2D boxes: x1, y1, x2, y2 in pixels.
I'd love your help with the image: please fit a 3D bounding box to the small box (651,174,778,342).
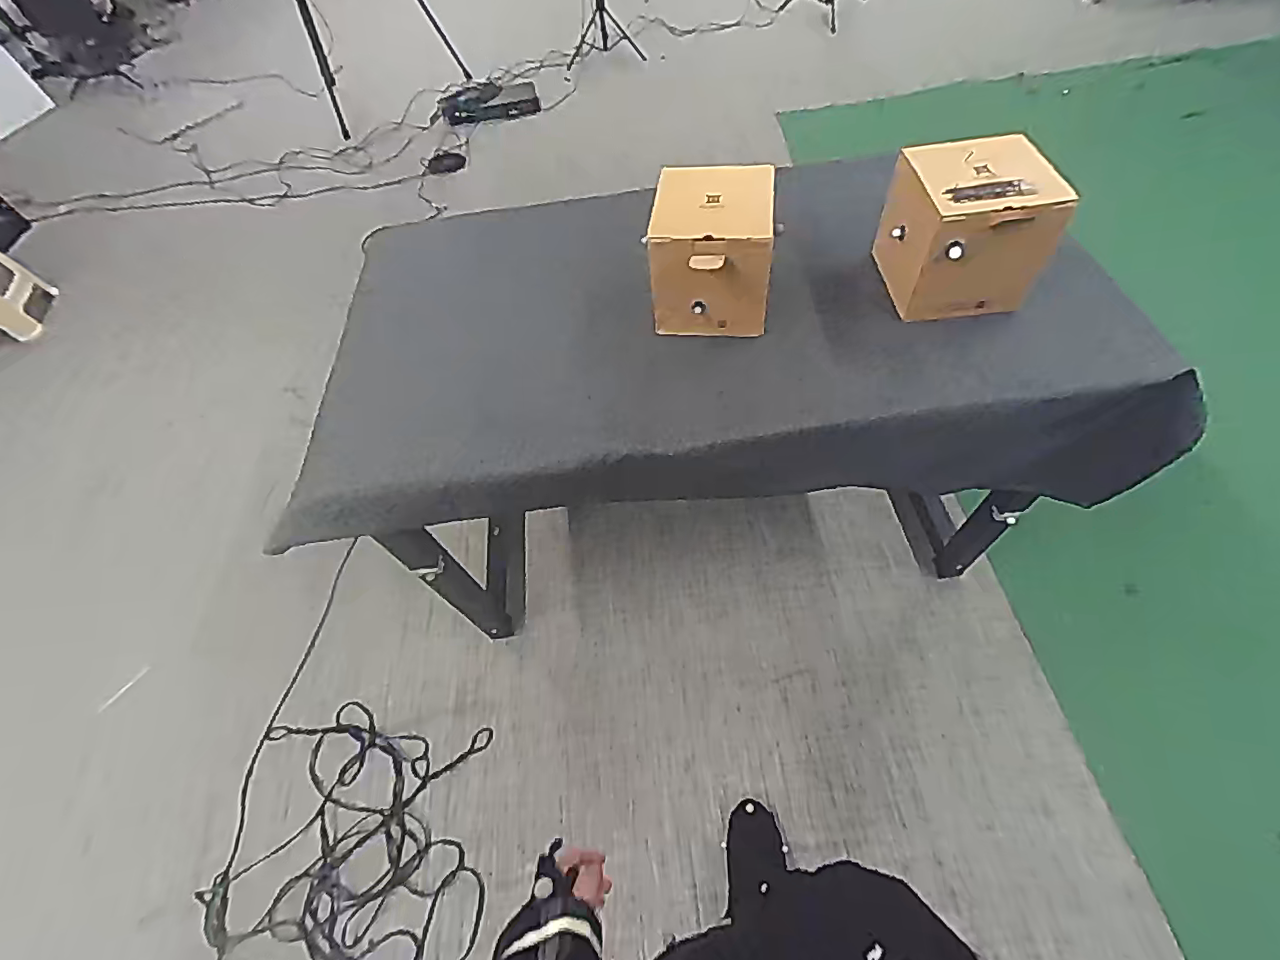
[{"bbox_3d":[0.113,-0.333,0.814,0.168,0.176,0.179,4,58,9],"label":"small box"}]
